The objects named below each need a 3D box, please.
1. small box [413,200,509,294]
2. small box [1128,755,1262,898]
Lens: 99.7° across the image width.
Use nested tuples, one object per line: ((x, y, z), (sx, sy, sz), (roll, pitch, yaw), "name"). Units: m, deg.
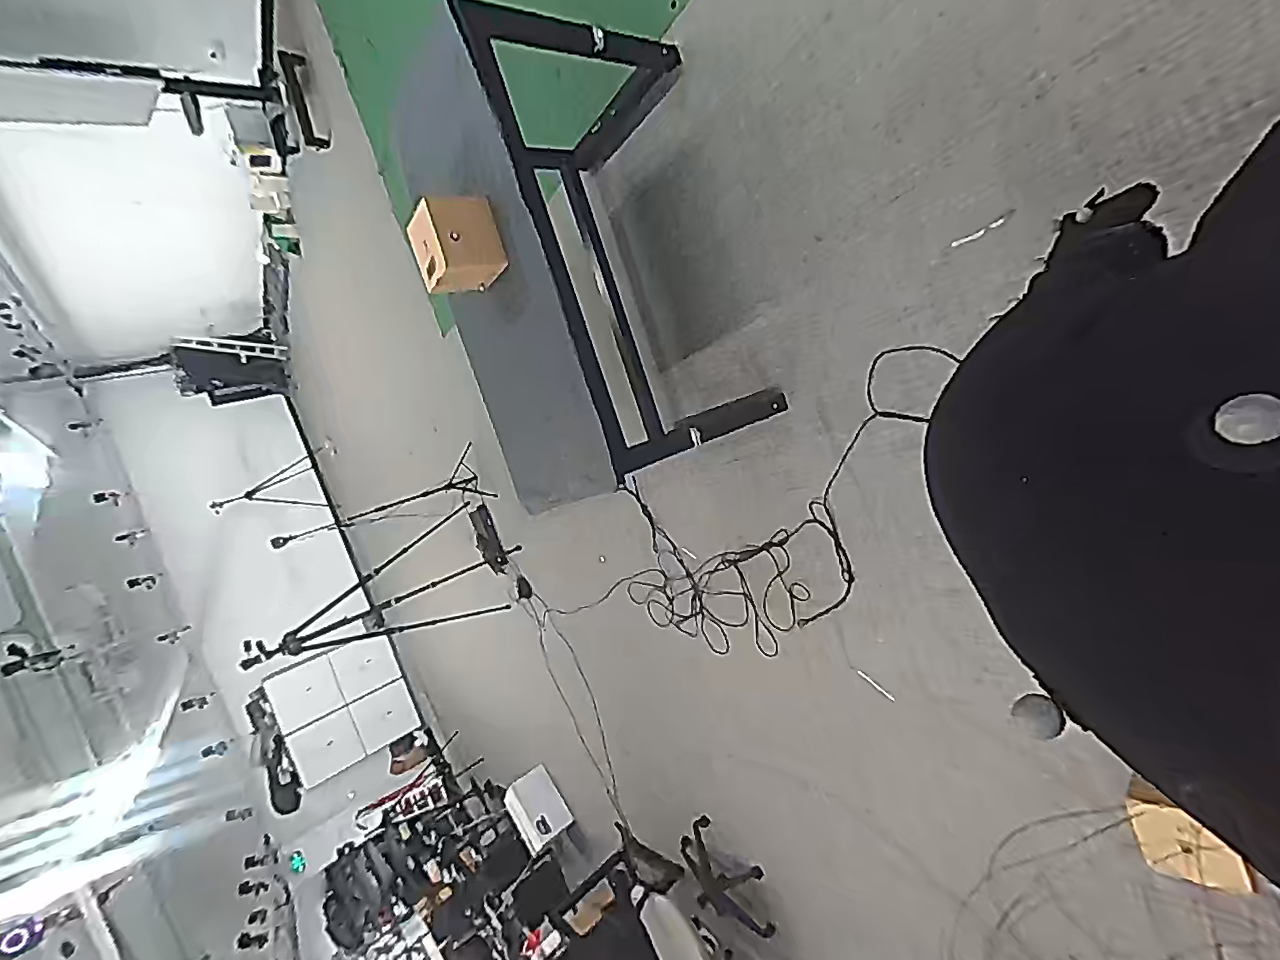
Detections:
((-0.463, -0.608, 1.410), (0.168, 0.176, 0.179), (-11, 98, 53), "small box")
((1.224, 0.748, 1.191), (0.168, 0.176, 0.179), (-19, 92, 53), "small box")
